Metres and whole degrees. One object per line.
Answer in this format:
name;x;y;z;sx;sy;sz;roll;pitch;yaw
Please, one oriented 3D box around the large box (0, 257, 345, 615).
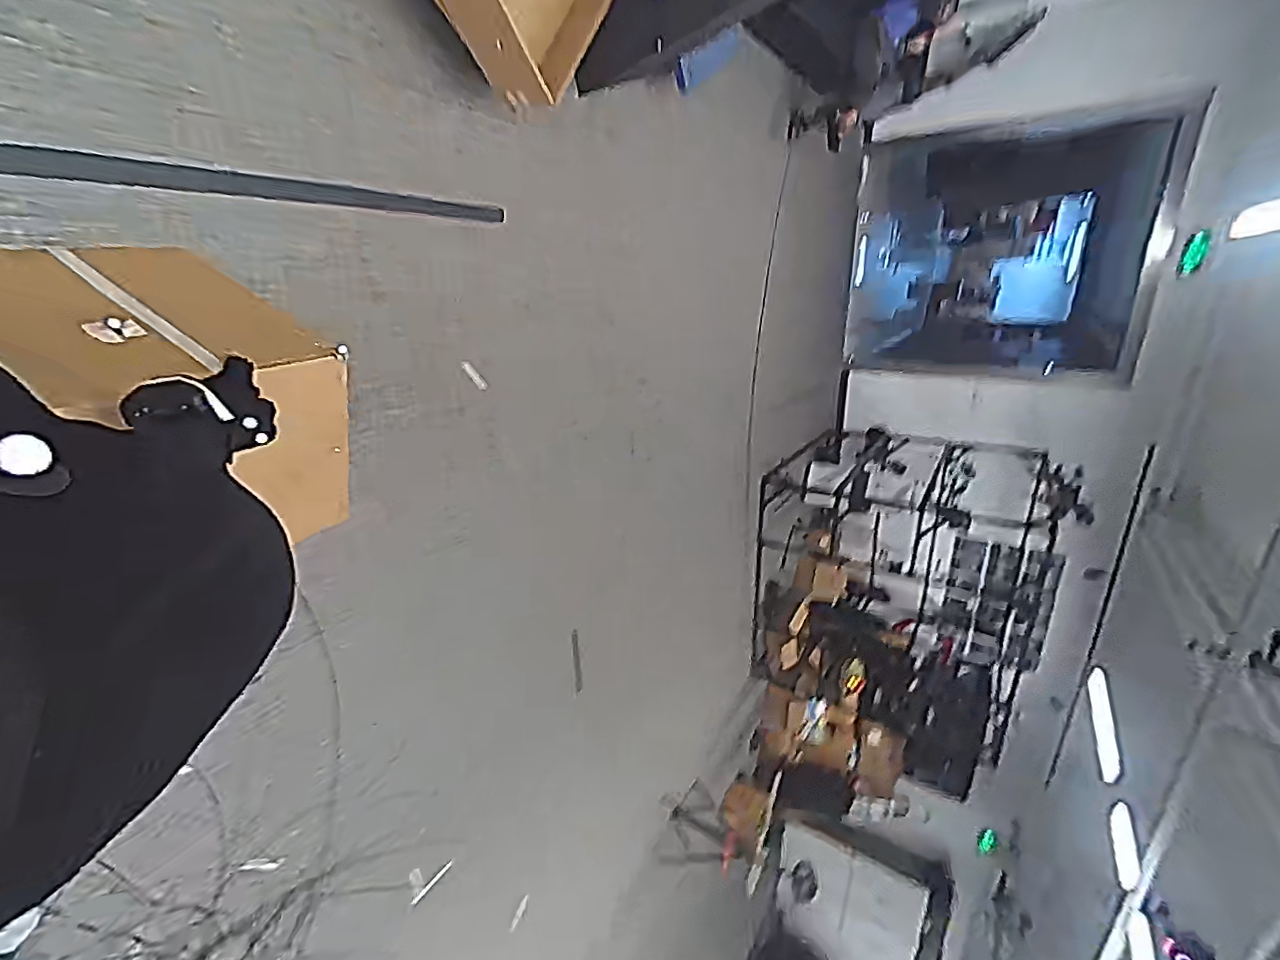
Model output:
large box;-0.701;-0.090;0.785;0.320;0.408;0.320;-36;153;-51
